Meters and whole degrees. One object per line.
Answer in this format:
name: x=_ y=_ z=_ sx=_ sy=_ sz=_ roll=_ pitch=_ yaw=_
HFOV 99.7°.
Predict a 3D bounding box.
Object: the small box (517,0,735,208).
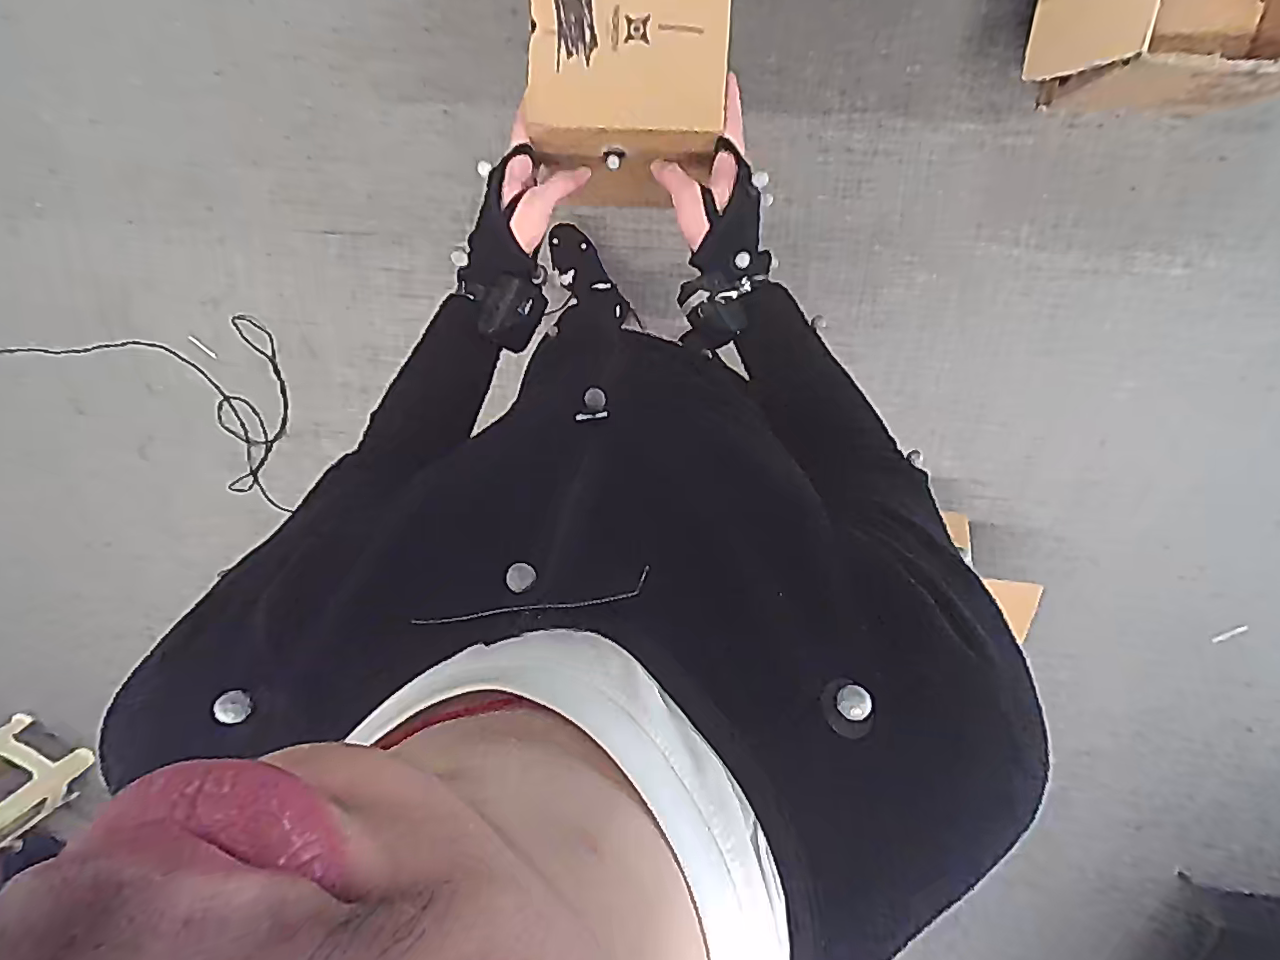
small box: x=-0.006 y=-0.389 z=0.535 sx=0.179 sy=0.176 sz=0.168 roll=7 pitch=98 yaw=3
